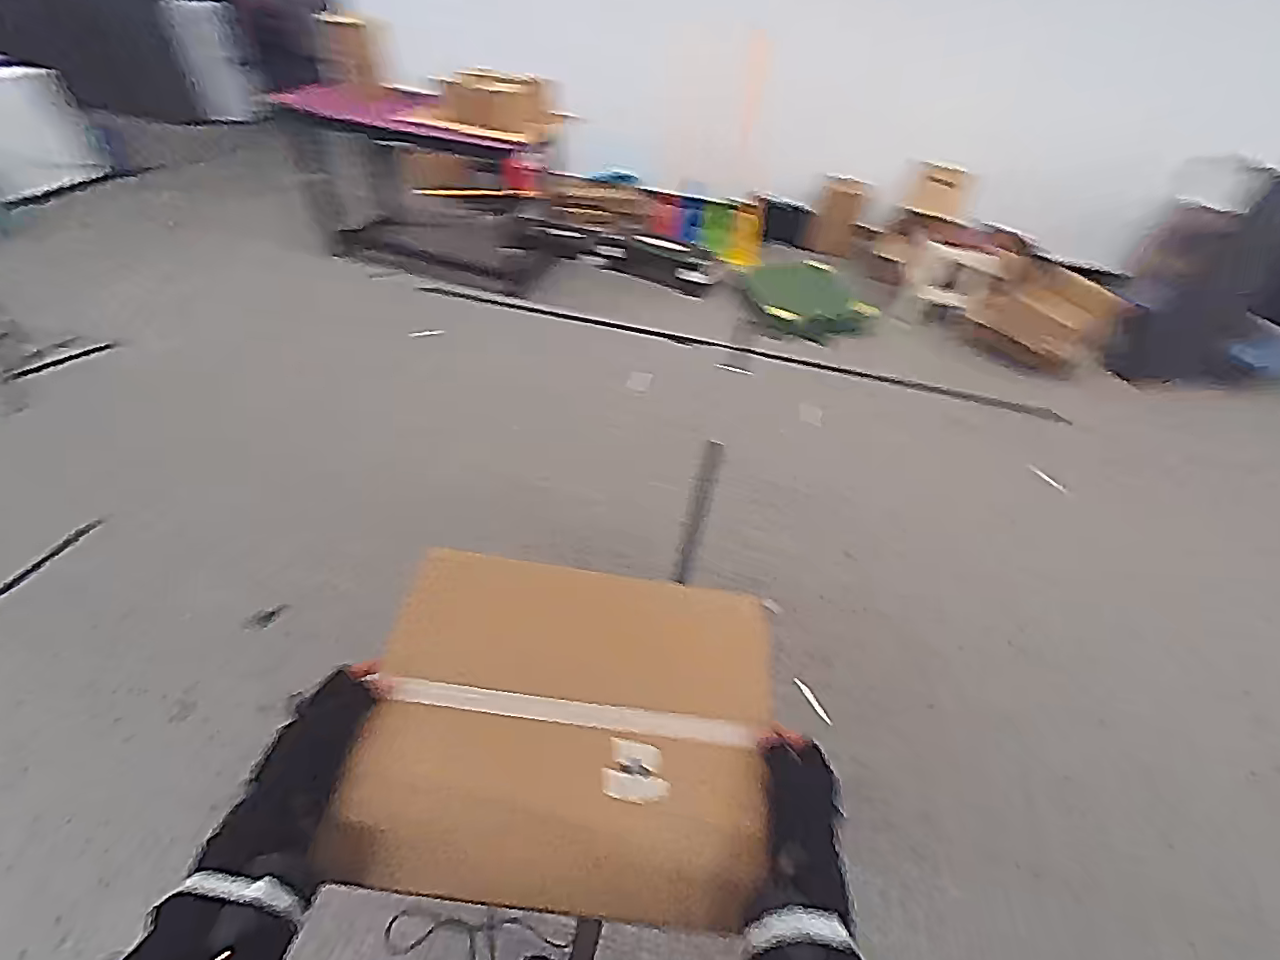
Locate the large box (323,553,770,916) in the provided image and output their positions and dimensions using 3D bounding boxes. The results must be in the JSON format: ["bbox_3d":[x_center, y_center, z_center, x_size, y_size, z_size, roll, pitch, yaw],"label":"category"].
[{"bbox_3d":[-0.086,0.322,0.679,0.408,0.320,0.320,9,55,-2],"label":"large box"}]
